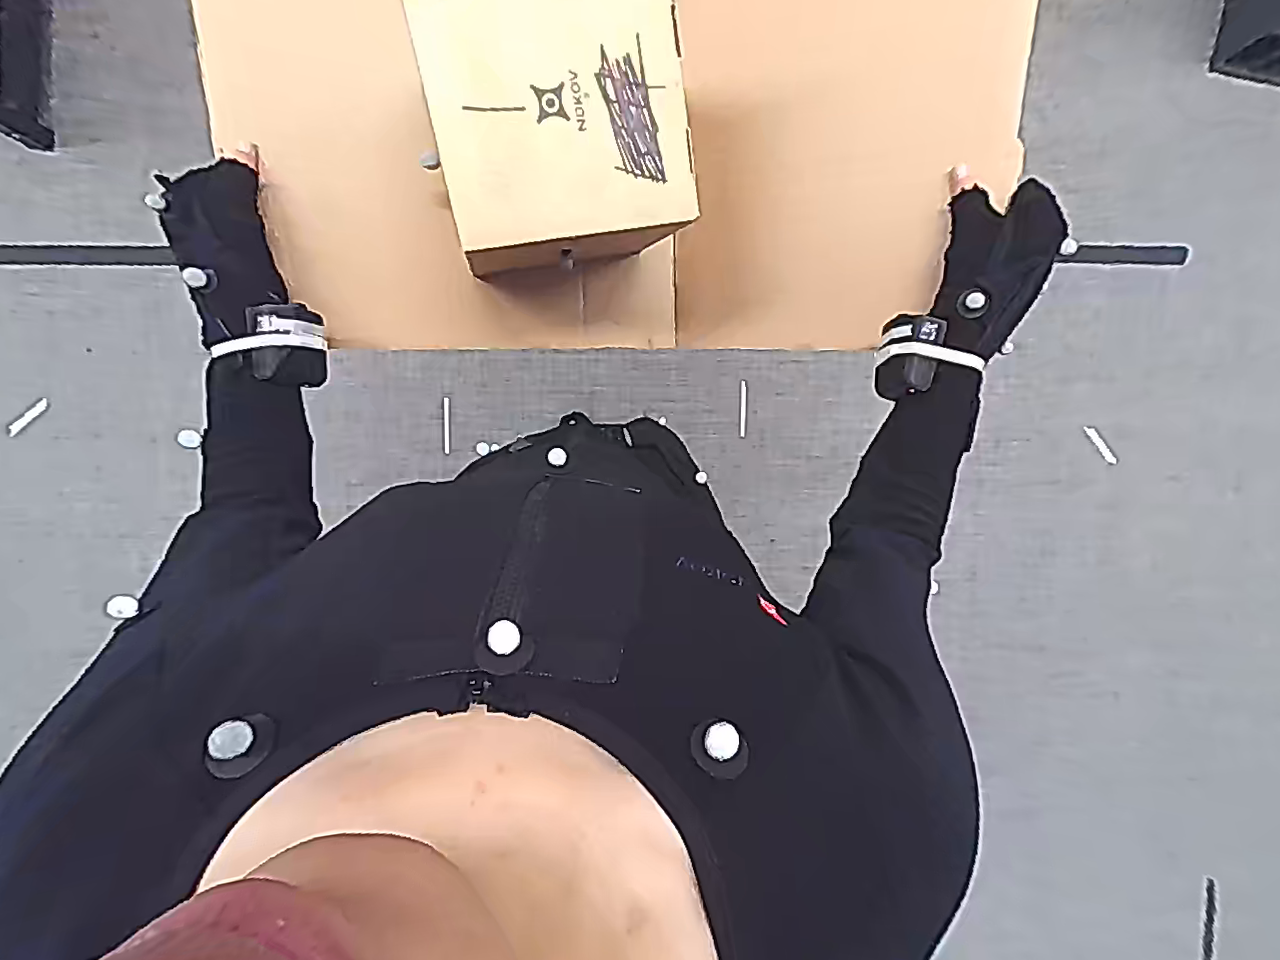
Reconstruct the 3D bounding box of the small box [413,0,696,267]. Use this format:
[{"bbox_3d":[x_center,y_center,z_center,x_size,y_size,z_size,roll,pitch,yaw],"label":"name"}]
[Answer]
[{"bbox_3d":[-0.070,-0.280,0.447,0.179,0.176,0.168,-13,108,-11],"label":"small box"}]
